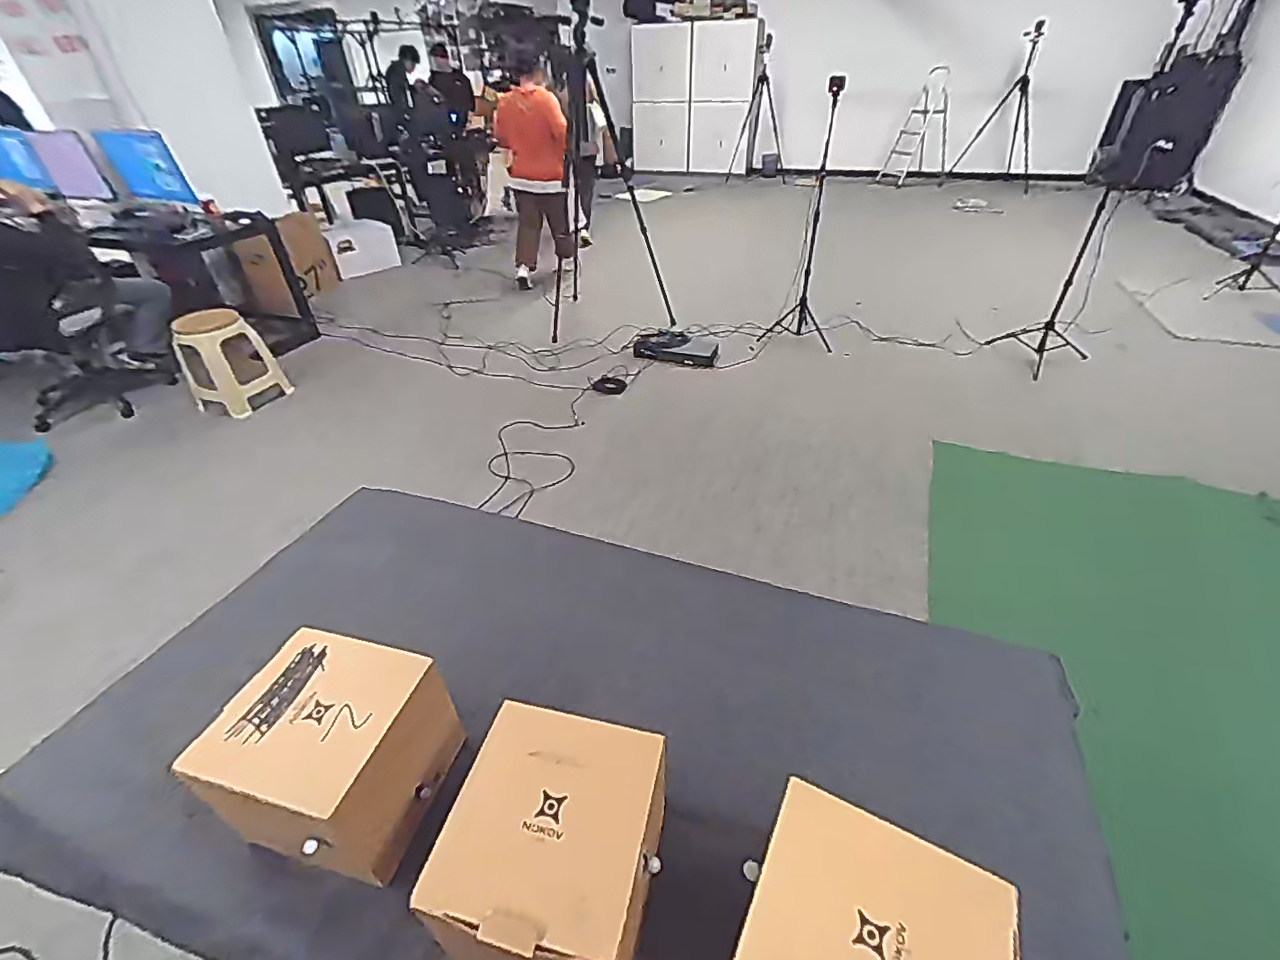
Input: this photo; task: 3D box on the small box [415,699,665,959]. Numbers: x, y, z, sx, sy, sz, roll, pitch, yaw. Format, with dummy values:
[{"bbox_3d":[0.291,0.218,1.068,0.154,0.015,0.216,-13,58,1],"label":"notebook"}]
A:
[{"bbox_3d":[-0.073,0.344,0.507,0.168,0.176,0.179,8,37,11],"label":"small box"}]
